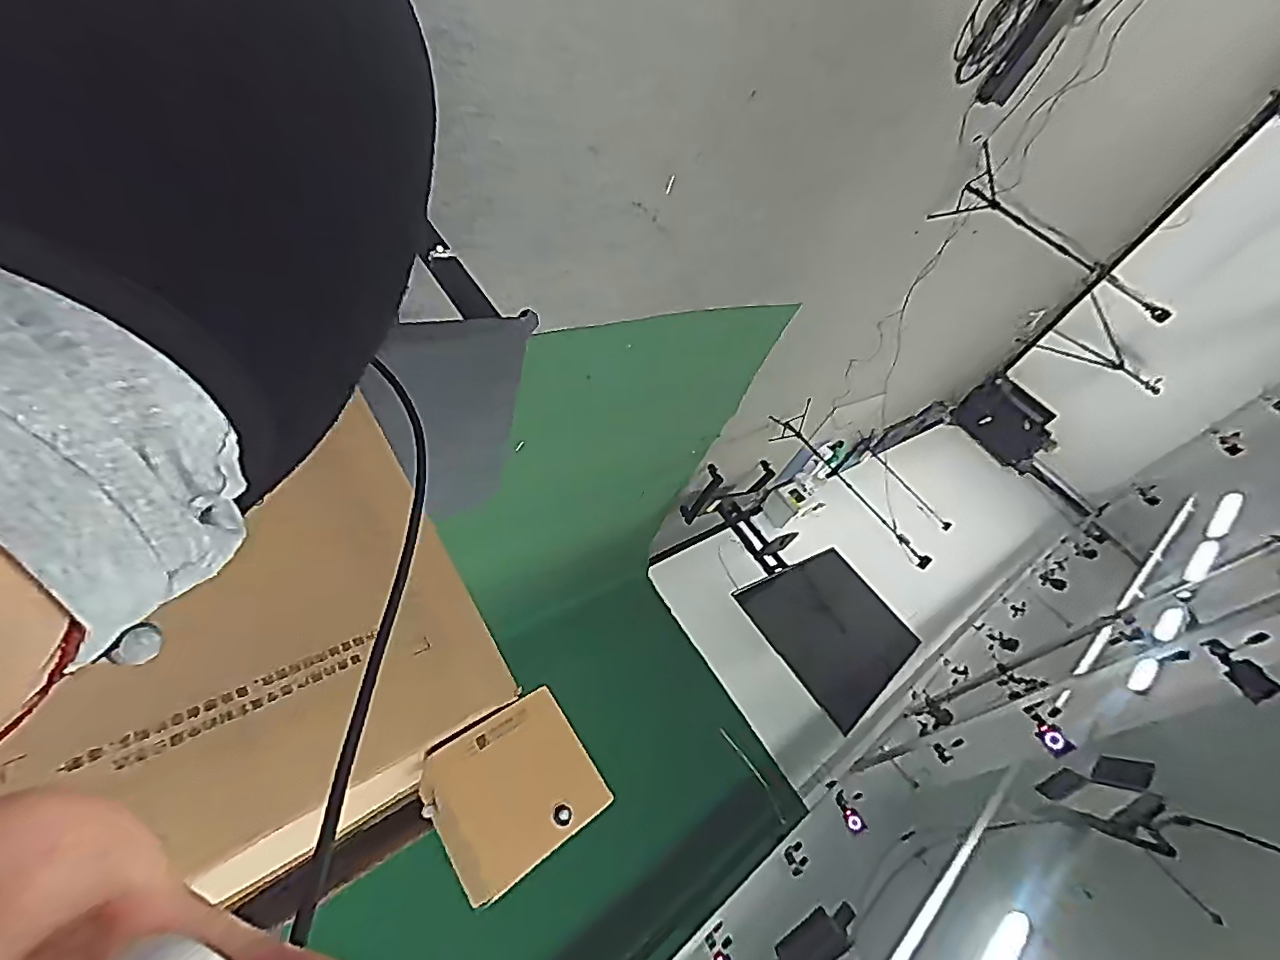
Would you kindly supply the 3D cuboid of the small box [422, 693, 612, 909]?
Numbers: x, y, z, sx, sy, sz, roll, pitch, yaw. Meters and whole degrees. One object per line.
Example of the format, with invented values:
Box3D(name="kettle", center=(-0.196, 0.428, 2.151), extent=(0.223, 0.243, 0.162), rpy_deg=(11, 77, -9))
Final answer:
Box3D(name="small box", center=(-0.169, 0.411, 0.706), extent=(0.168, 0.176, 0.179), rpy_deg=(-23, 153, -38))
